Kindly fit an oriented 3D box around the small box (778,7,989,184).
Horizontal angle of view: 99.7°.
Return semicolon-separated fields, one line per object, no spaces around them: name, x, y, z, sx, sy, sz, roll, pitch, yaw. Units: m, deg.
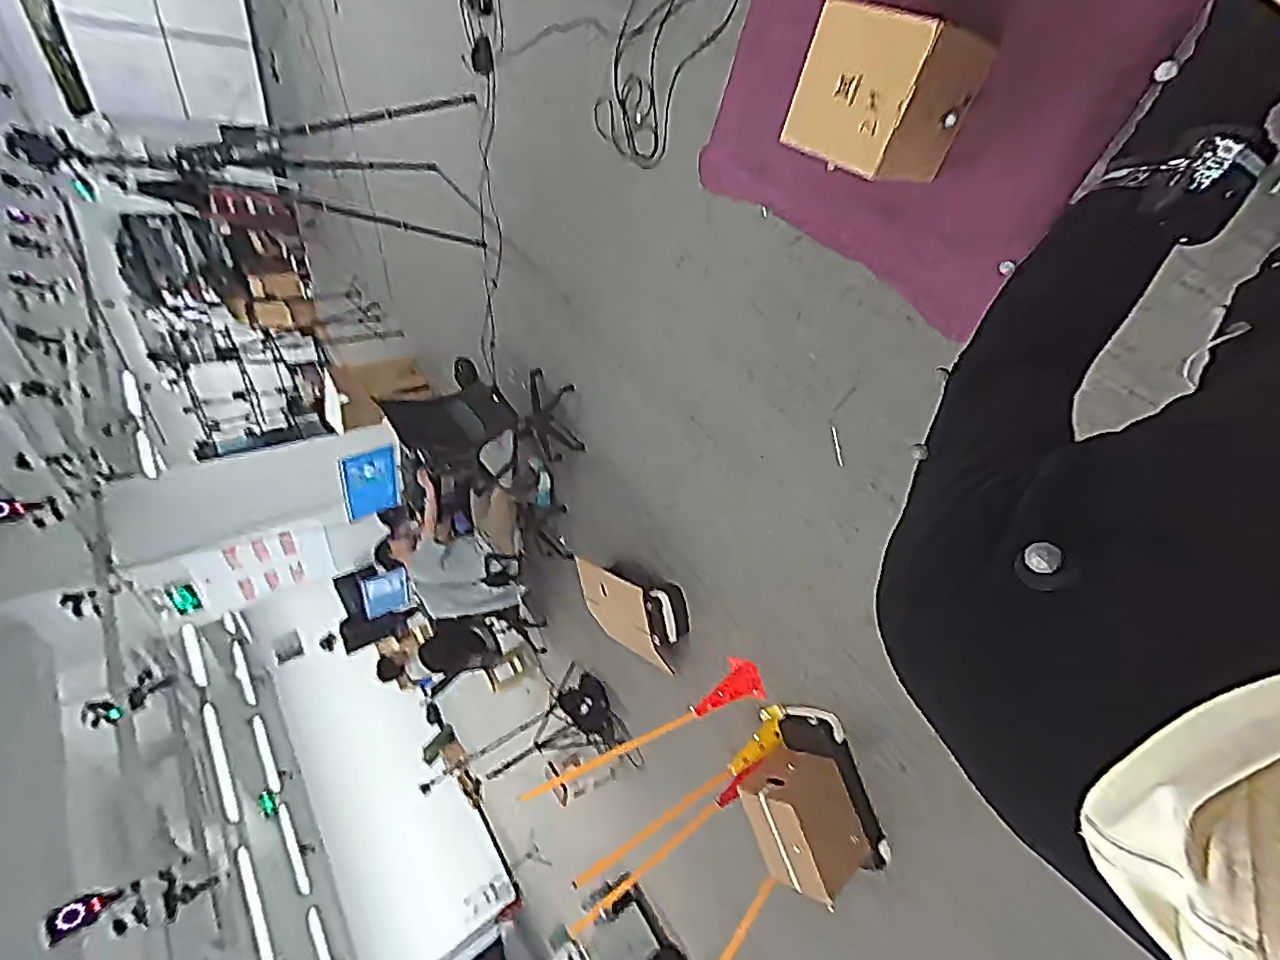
small box;0.335;-0.528;0.760;0.179;0.176;0.168;45;139;30
